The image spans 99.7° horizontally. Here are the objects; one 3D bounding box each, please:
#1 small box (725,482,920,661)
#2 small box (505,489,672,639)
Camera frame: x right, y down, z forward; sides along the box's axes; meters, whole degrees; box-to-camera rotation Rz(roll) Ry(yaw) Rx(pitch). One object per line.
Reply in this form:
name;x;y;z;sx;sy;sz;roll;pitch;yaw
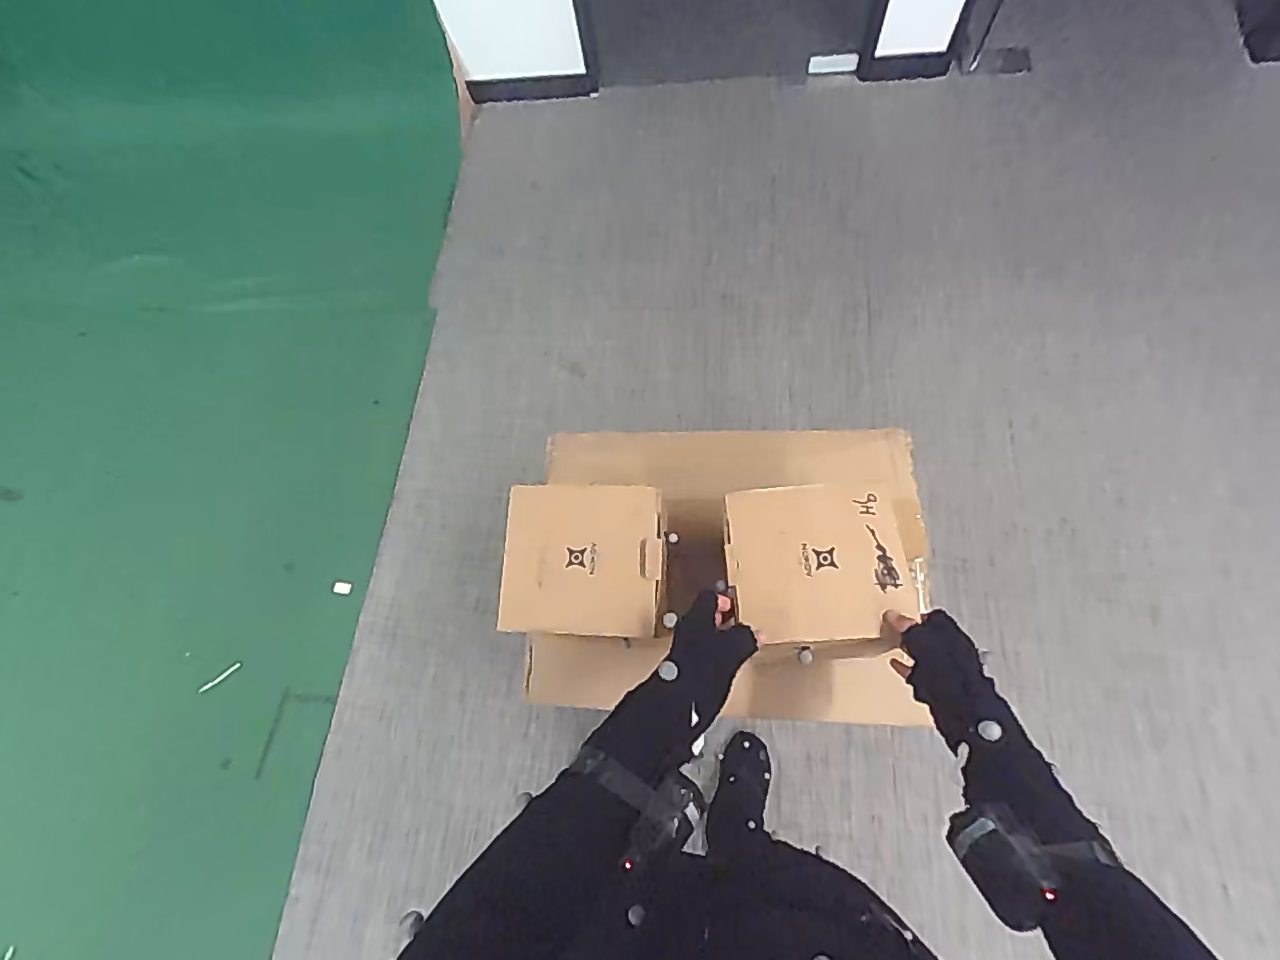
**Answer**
small box;0.196;0.116;0.634;0.179;0.176;0.168;-5;65;6
small box;-0.050;0.110;0.676;0.179;0.176;0.168;-1;74;7
